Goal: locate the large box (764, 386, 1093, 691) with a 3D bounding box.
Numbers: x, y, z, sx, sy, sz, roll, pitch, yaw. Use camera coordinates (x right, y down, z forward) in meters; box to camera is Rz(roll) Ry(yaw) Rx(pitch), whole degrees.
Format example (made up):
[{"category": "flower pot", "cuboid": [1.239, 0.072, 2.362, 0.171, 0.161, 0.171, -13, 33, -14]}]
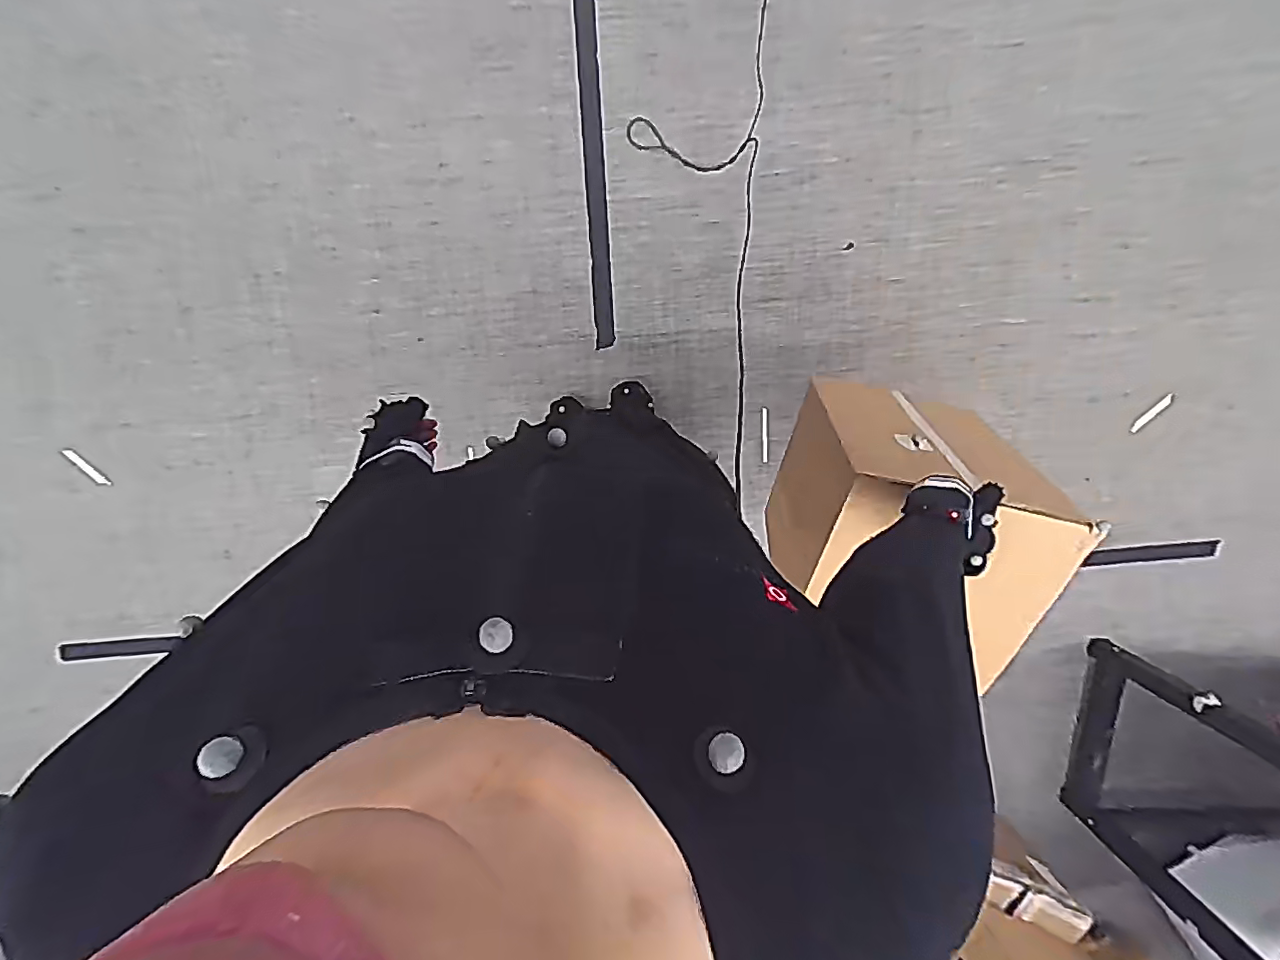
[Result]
[{"category": "large box", "cuboid": [0.421, 0.075, 0.929, 0.320, 0.408, 0.320, 12, 120, 1]}]
